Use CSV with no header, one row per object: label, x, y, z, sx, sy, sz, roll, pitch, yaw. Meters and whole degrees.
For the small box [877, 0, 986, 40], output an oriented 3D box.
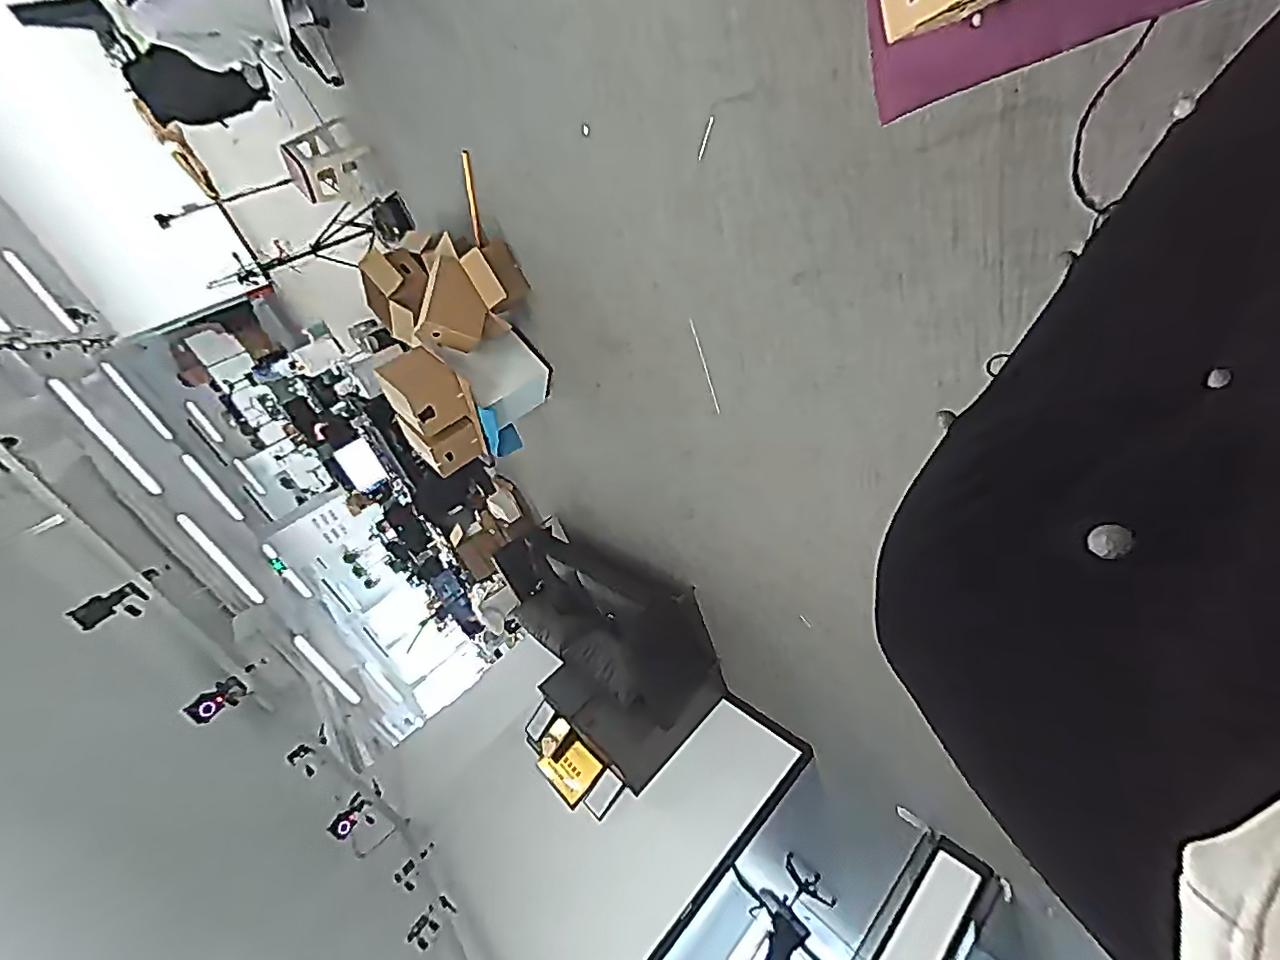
small box,0.326,-0.553,0.490,0.168,0.176,0.179,12,132,52
